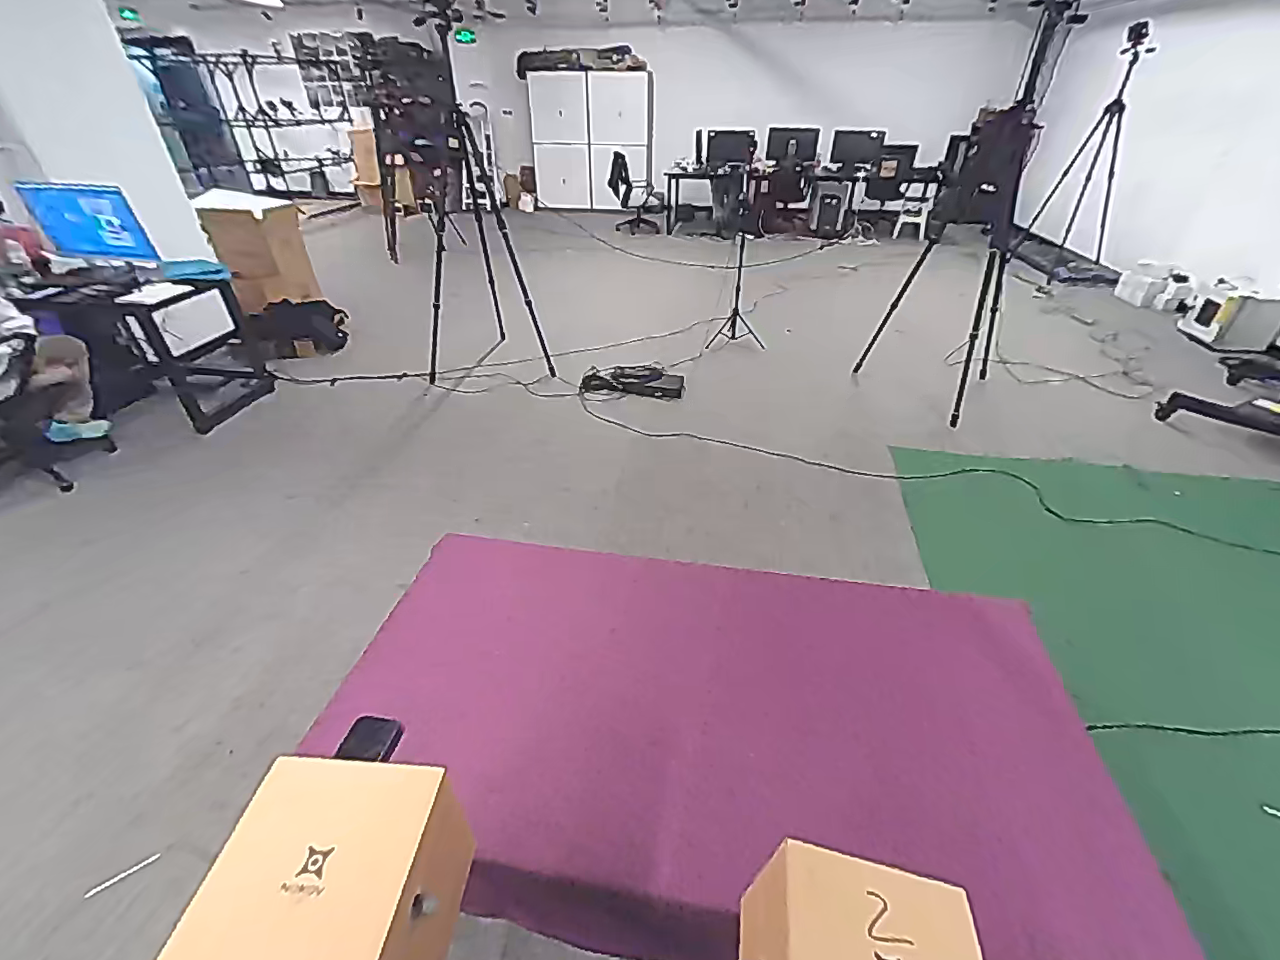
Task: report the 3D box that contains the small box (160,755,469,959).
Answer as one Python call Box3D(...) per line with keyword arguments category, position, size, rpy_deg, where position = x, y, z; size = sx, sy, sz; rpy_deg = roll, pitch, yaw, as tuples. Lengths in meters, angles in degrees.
Box3D(category="small box", position=(-0.266, 0.383, 0.490), size=(0.168, 0.176, 0.179), rpy_deg=(3, 38, 3))
